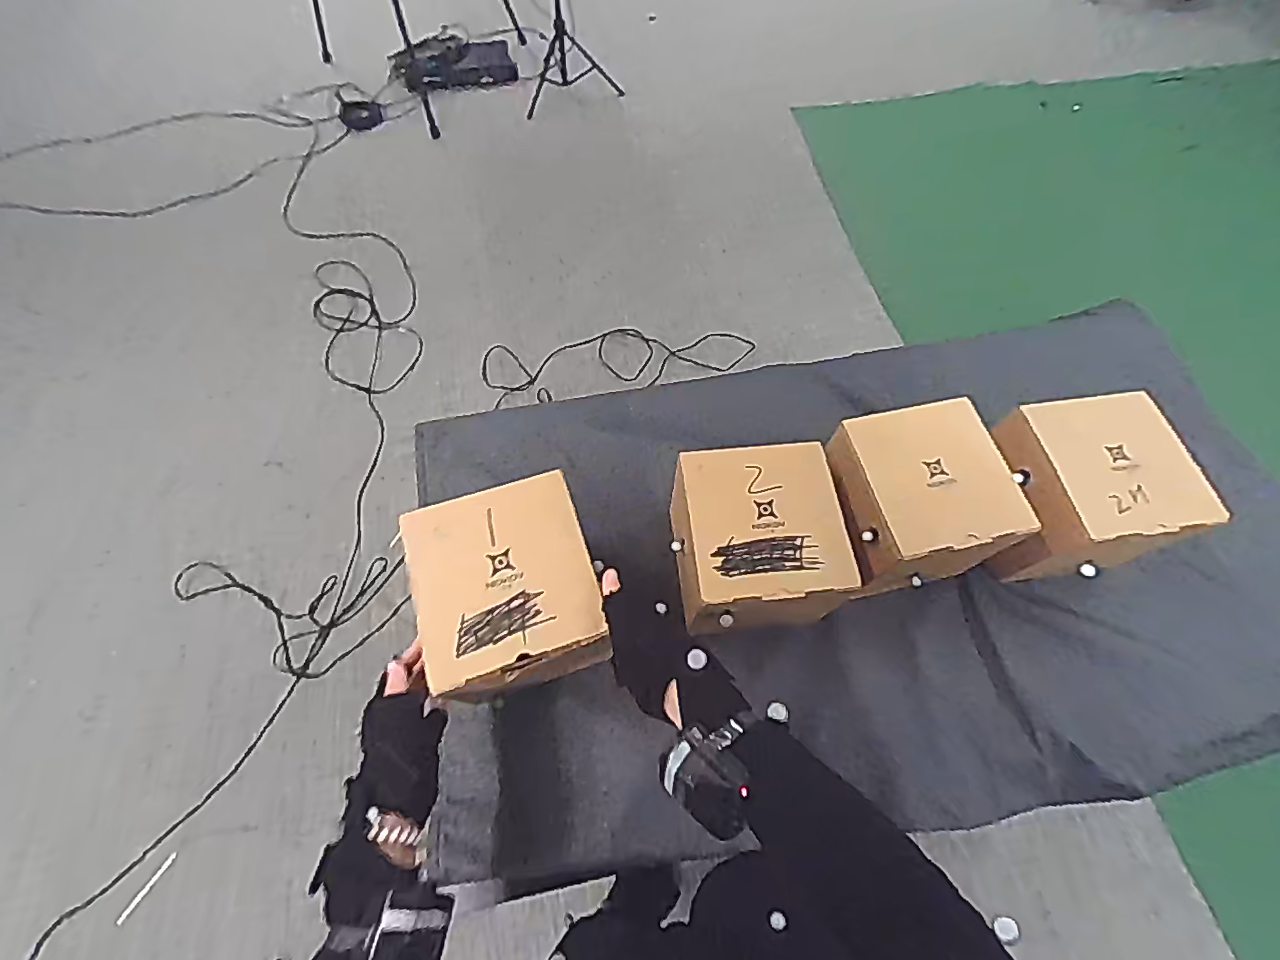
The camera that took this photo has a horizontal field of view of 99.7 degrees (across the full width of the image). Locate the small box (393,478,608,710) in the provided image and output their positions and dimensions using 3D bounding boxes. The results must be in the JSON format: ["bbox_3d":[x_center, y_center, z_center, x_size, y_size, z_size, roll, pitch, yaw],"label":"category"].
[{"bbox_3d":[-0.135,0.128,0.571,0.168,0.176,0.179,-18,65,-11],"label":"small box"}]
